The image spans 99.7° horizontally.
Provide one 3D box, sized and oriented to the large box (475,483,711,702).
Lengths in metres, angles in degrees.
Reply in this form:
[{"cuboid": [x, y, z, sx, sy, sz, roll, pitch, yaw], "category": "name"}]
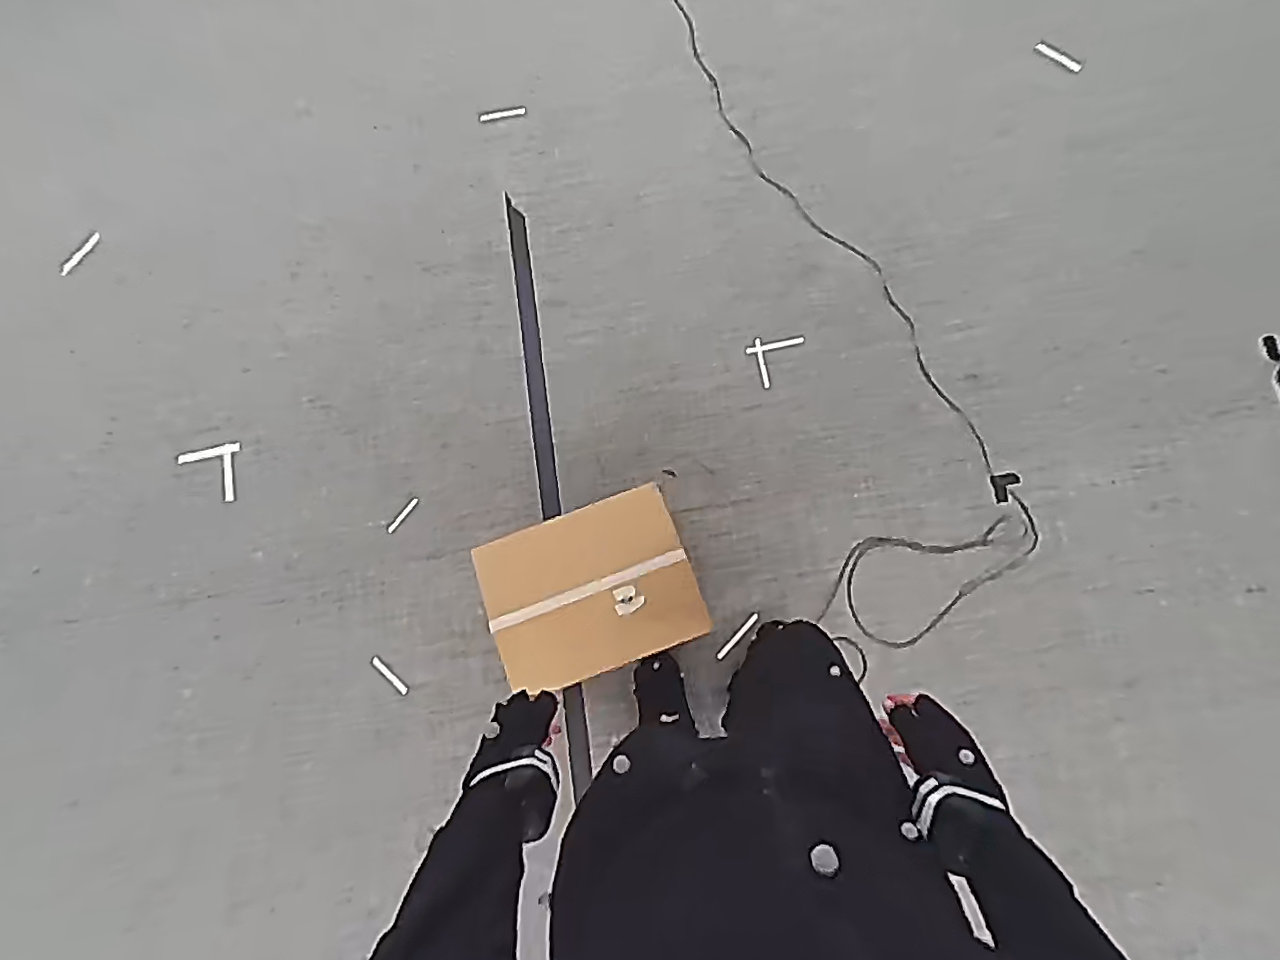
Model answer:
[{"cuboid": [-0.092, 0.247, 1.210, 0.408, 0.320, 0.320, -21, 79, -2], "category": "large box"}]
